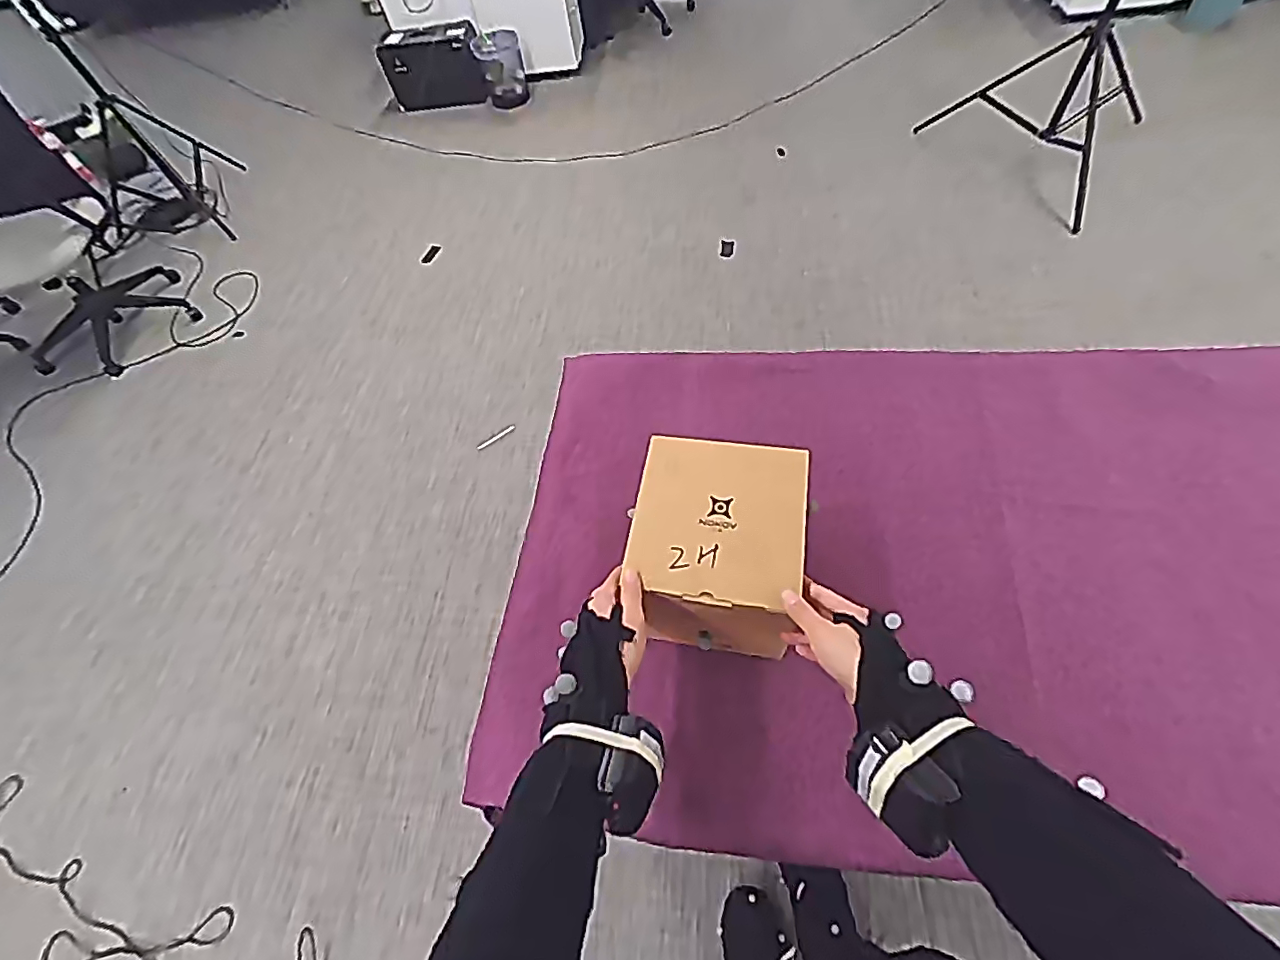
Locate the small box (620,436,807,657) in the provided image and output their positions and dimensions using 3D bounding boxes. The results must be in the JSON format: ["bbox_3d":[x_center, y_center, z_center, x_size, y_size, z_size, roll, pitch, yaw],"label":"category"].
[{"bbox_3d":[0.084,0.077,0.598,0.168,0.176,0.179,6,59,11],"label":"small box"}]
